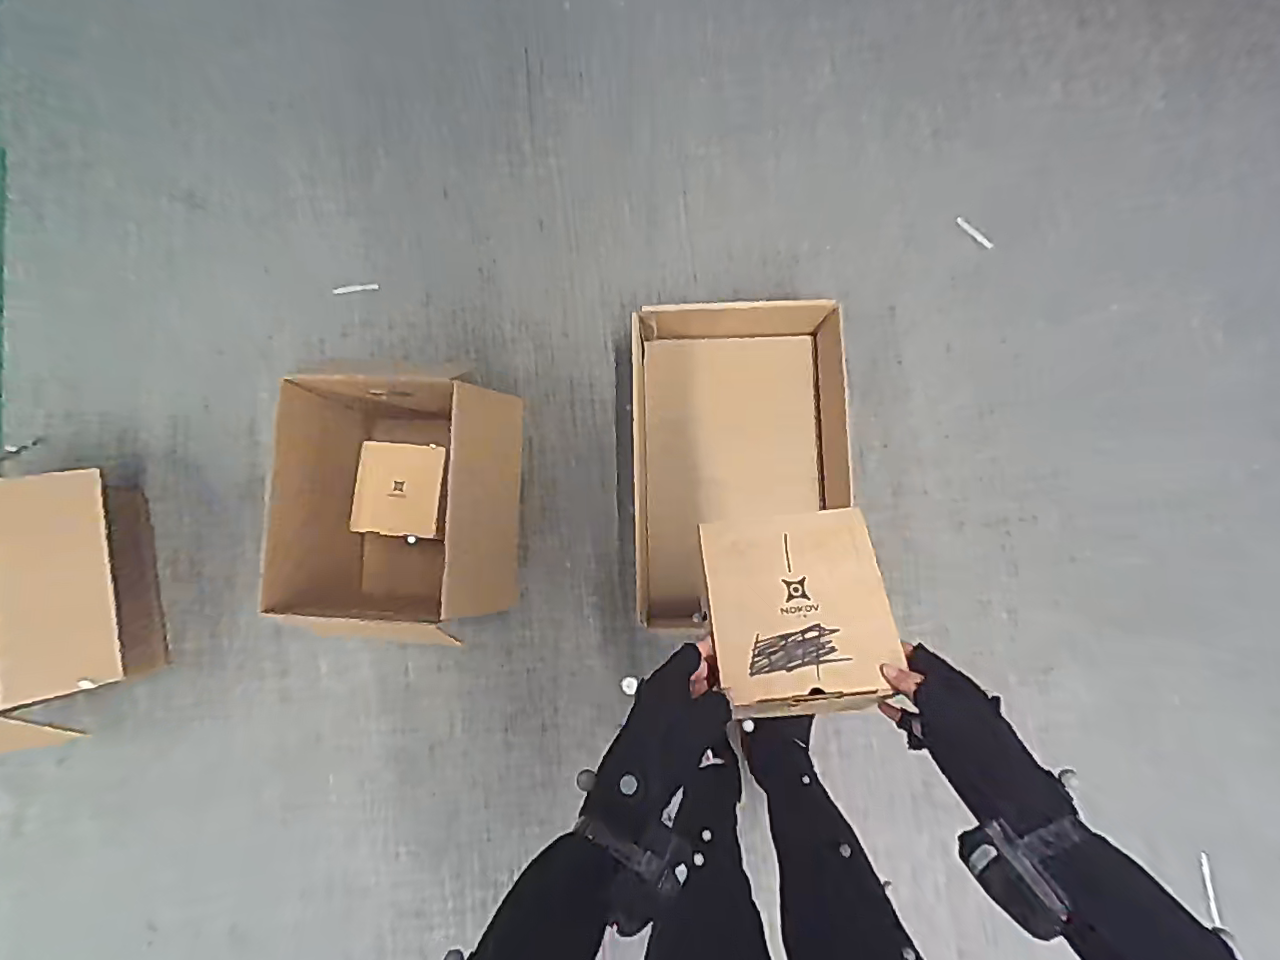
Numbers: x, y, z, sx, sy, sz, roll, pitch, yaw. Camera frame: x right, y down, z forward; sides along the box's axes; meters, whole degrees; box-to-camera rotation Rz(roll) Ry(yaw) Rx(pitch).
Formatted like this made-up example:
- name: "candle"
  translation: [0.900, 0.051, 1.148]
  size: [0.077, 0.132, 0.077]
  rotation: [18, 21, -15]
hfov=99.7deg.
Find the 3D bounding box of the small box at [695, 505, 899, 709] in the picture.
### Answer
- name: "small box"
  translation: [0.151, 0.147, 0.586]
  size: [0.168, 0.176, 0.179]
  rotation: [-6, 61, 3]
